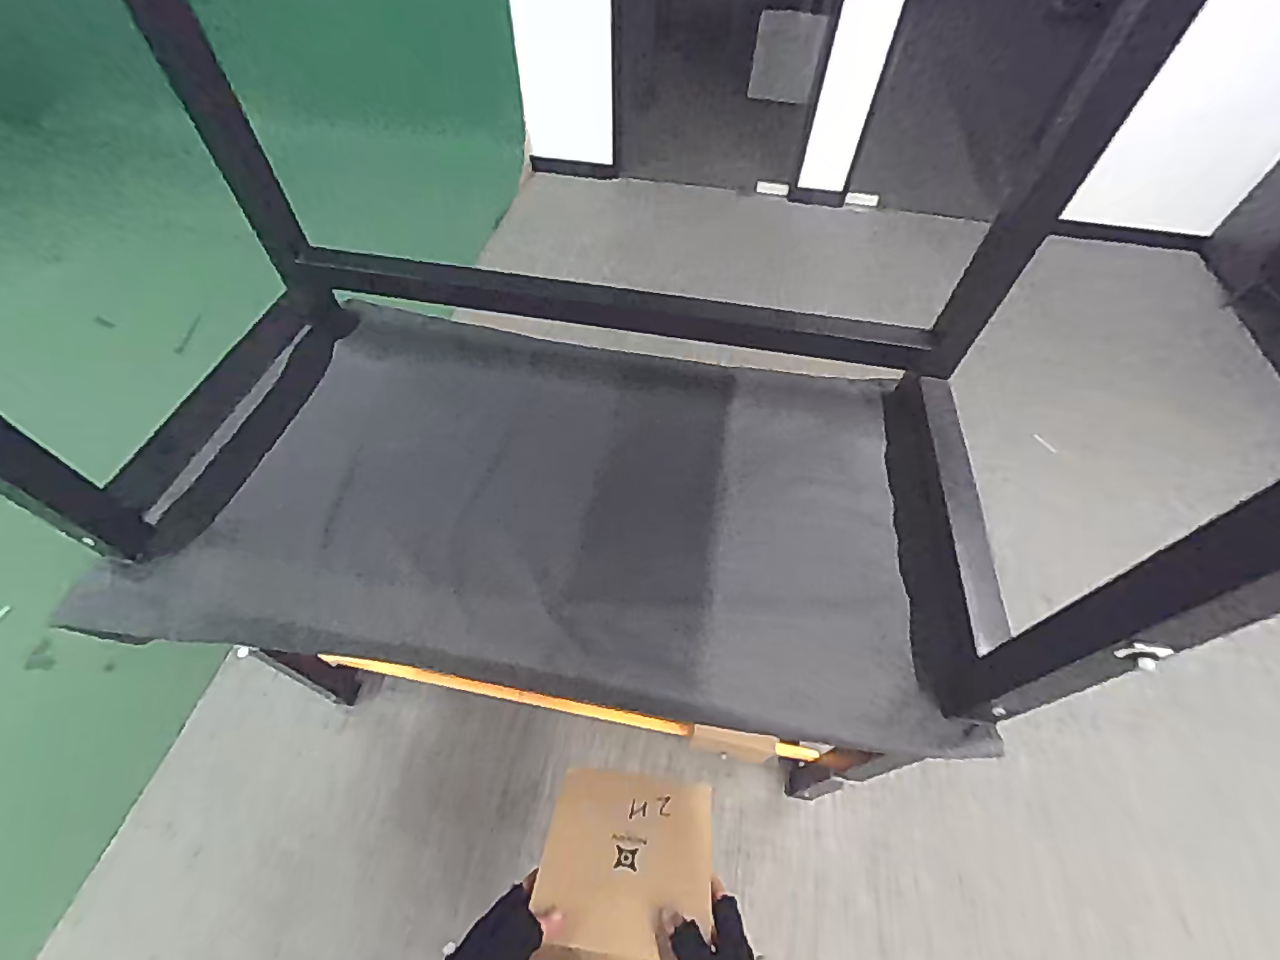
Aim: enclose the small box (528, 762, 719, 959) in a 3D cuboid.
[{"bbox_3d":[-0.008,0.434,0.558,0.168,0.176,0.179,6,23,5],"label":"small box"}]
